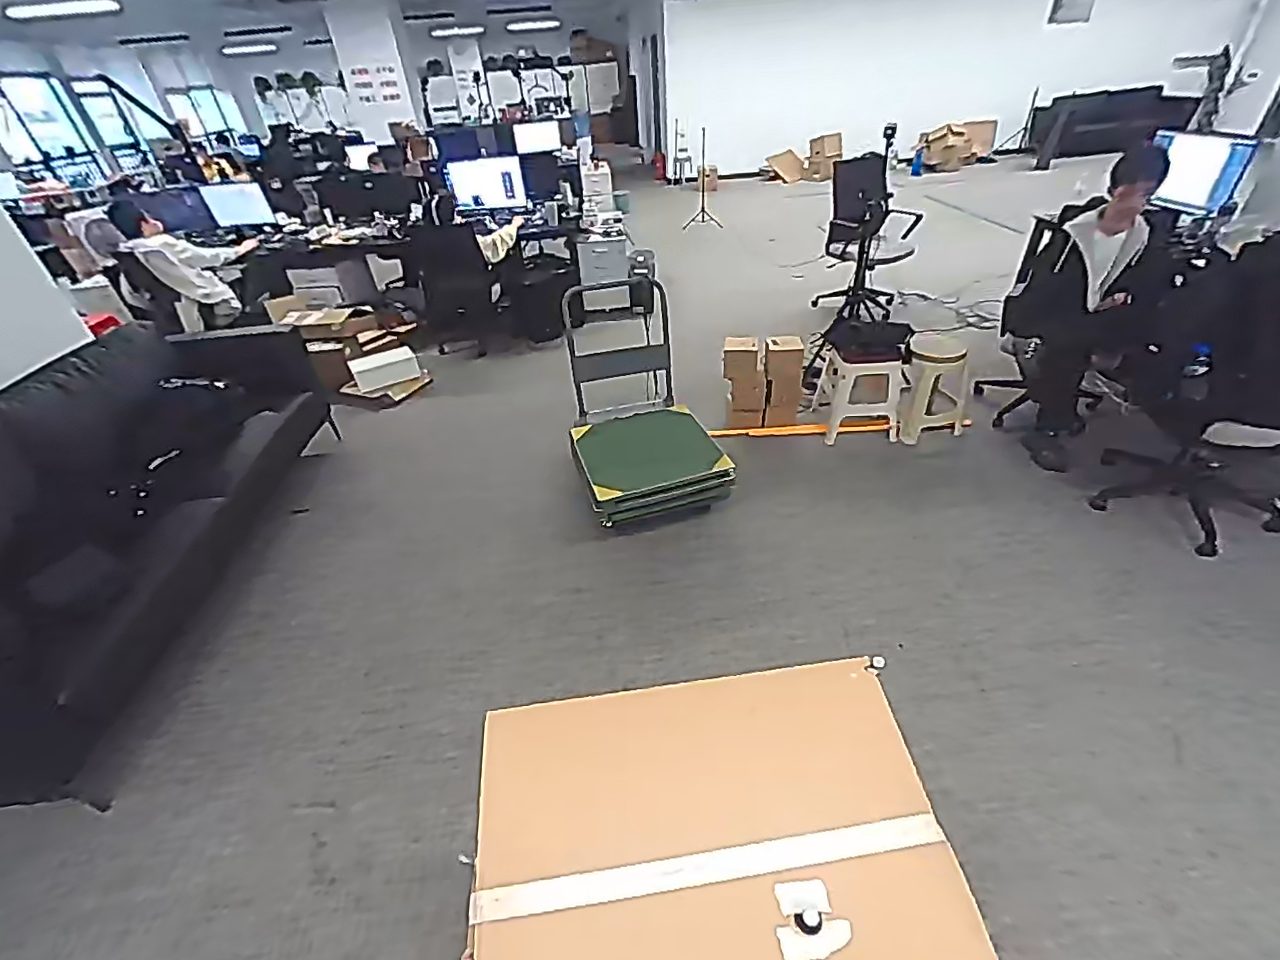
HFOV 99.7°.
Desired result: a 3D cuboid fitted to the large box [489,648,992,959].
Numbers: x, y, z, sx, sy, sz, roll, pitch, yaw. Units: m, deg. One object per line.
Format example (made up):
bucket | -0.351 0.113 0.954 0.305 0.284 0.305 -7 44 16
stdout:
large box | 0.069 0.421 0.591 0.408 0.320 0.320 -7 52 -4
